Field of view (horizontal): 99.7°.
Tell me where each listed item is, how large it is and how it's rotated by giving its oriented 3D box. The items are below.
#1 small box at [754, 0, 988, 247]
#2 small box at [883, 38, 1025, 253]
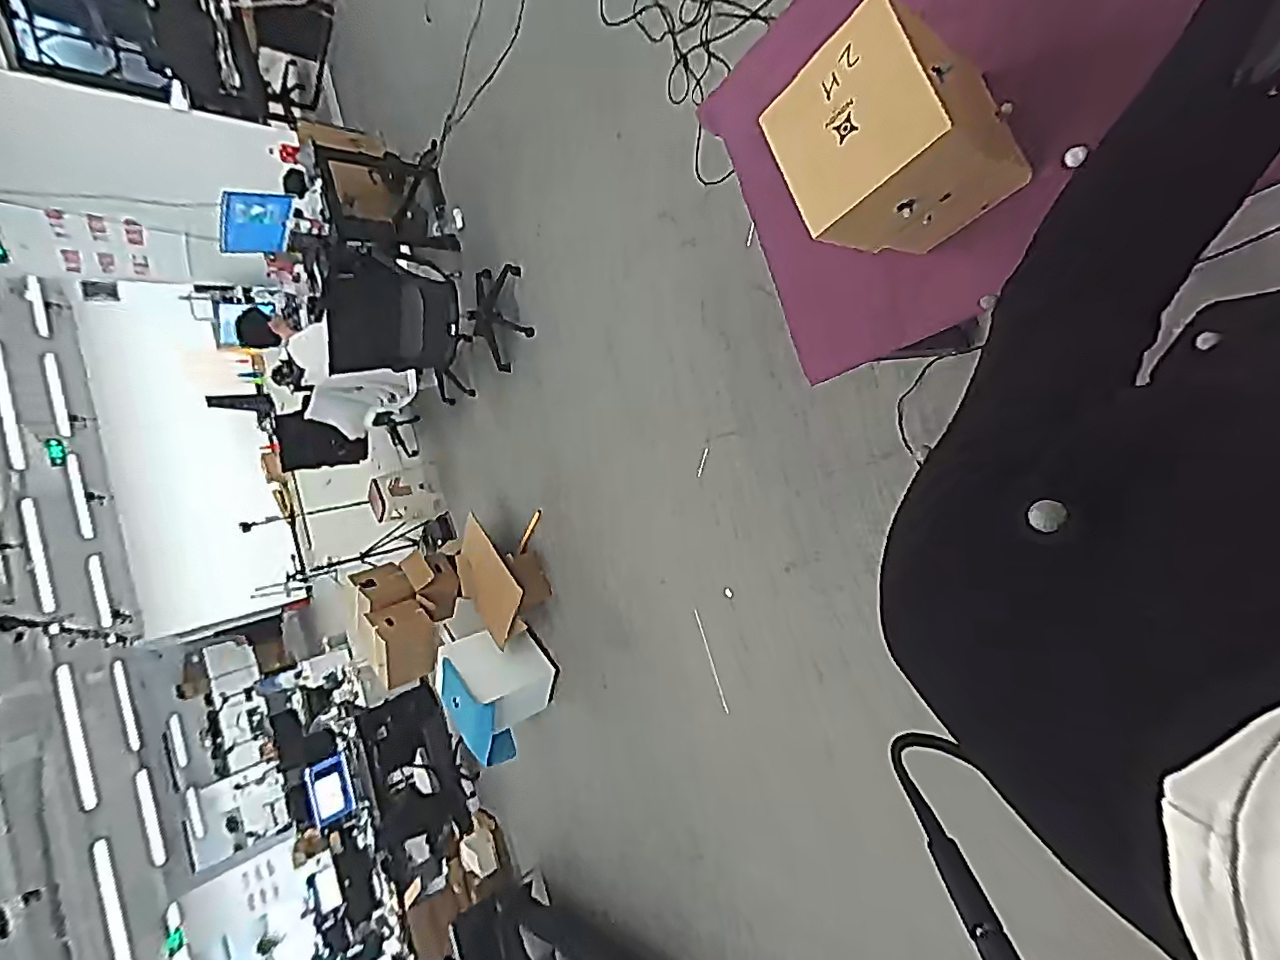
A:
[{"bbox_3d":[0.274,-0.398,0.638,0.168,0.176,0.179,-29,79,47],"label":"small box"},{"bbox_3d":[0.389,-0.442,0.748,0.168,0.176,0.179,-31,76,48],"label":"small box"}]
